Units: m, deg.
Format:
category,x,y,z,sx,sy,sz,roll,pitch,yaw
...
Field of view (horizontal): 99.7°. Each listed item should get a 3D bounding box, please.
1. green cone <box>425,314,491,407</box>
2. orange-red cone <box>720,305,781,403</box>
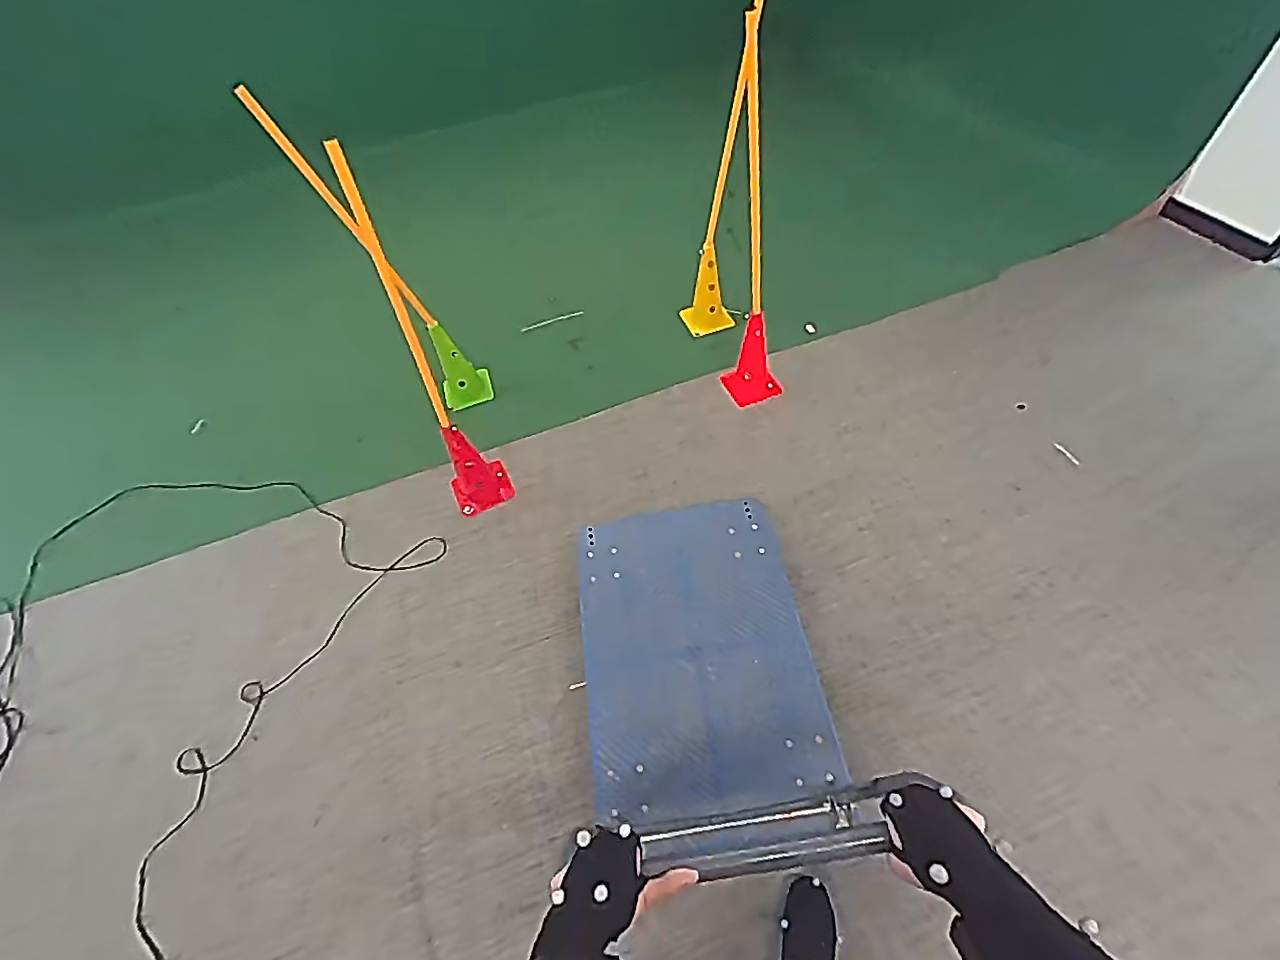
category,x,y,z,sx,sy,sz,roll,pitch,yaw
green cone,-0.761,-0.501,2.161,0.200,0.368,0.202,-20,54,-7
orange-red cone,0.420,-0.494,2.018,0.198,0.360,0.199,-19,53,-8
